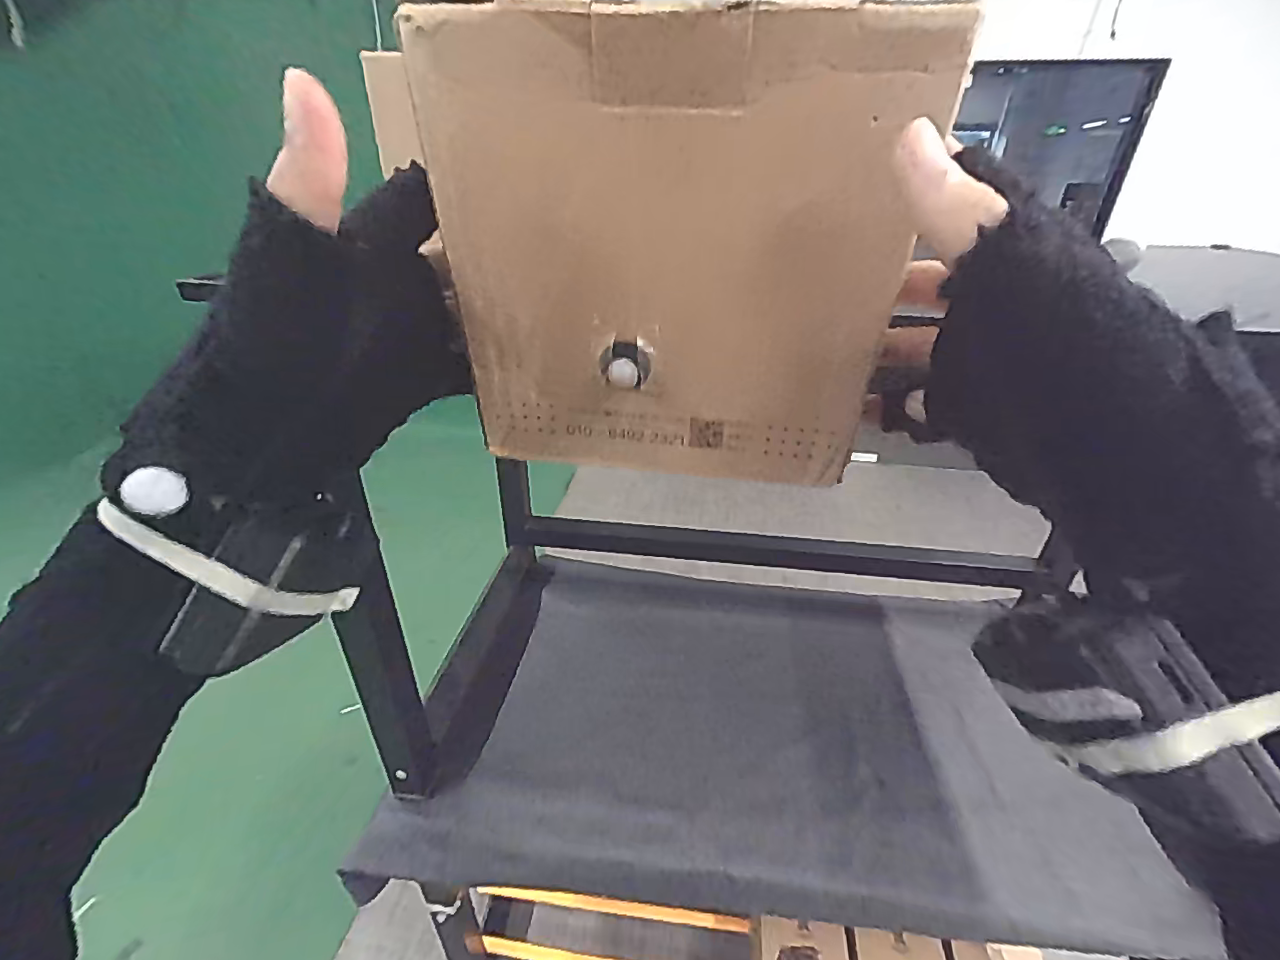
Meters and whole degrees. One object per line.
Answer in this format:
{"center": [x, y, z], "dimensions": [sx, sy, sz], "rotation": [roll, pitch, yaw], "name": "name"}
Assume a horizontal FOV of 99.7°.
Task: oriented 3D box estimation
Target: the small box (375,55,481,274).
{"center": [-0.132, -0.304, 0.545], "dimensions": [0.168, 0.176, 0.179], "rotation": [2, 29, 3], "name": "small box"}

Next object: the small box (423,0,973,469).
{"center": [0.022, -0.128, 0.270], "dimensions": [0.168, 0.176, 0.179], "rotation": [5, 39, 6], "name": "small box"}
